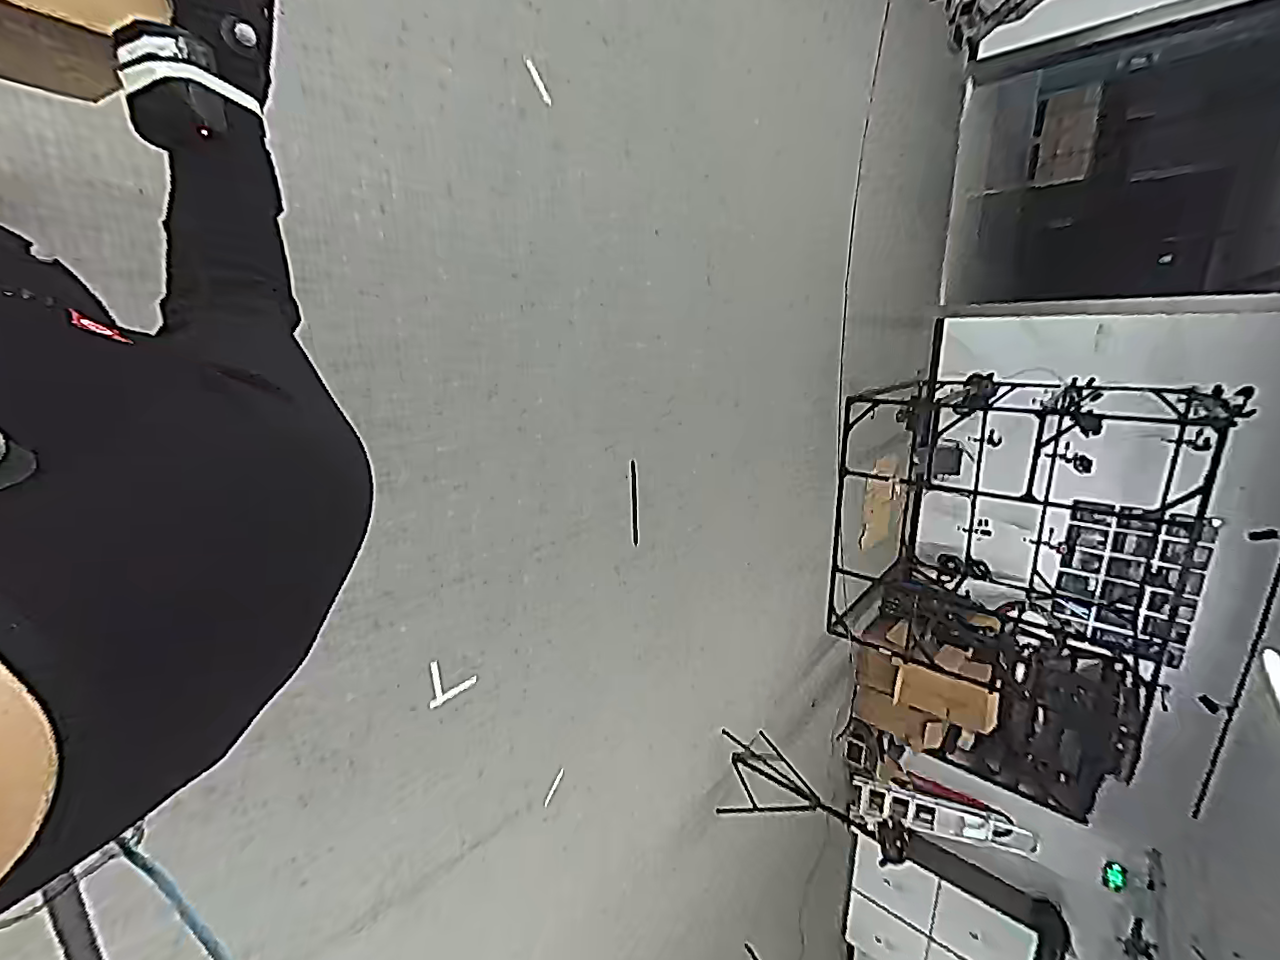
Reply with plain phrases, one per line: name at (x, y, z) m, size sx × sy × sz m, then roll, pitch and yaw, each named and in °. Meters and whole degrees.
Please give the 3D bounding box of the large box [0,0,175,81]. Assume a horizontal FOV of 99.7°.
large box at (-0.566, -0.476, 0.284) m, size 0.408 × 0.320 × 0.320 m, roll -16°, pitch 121°, yaw -51°
